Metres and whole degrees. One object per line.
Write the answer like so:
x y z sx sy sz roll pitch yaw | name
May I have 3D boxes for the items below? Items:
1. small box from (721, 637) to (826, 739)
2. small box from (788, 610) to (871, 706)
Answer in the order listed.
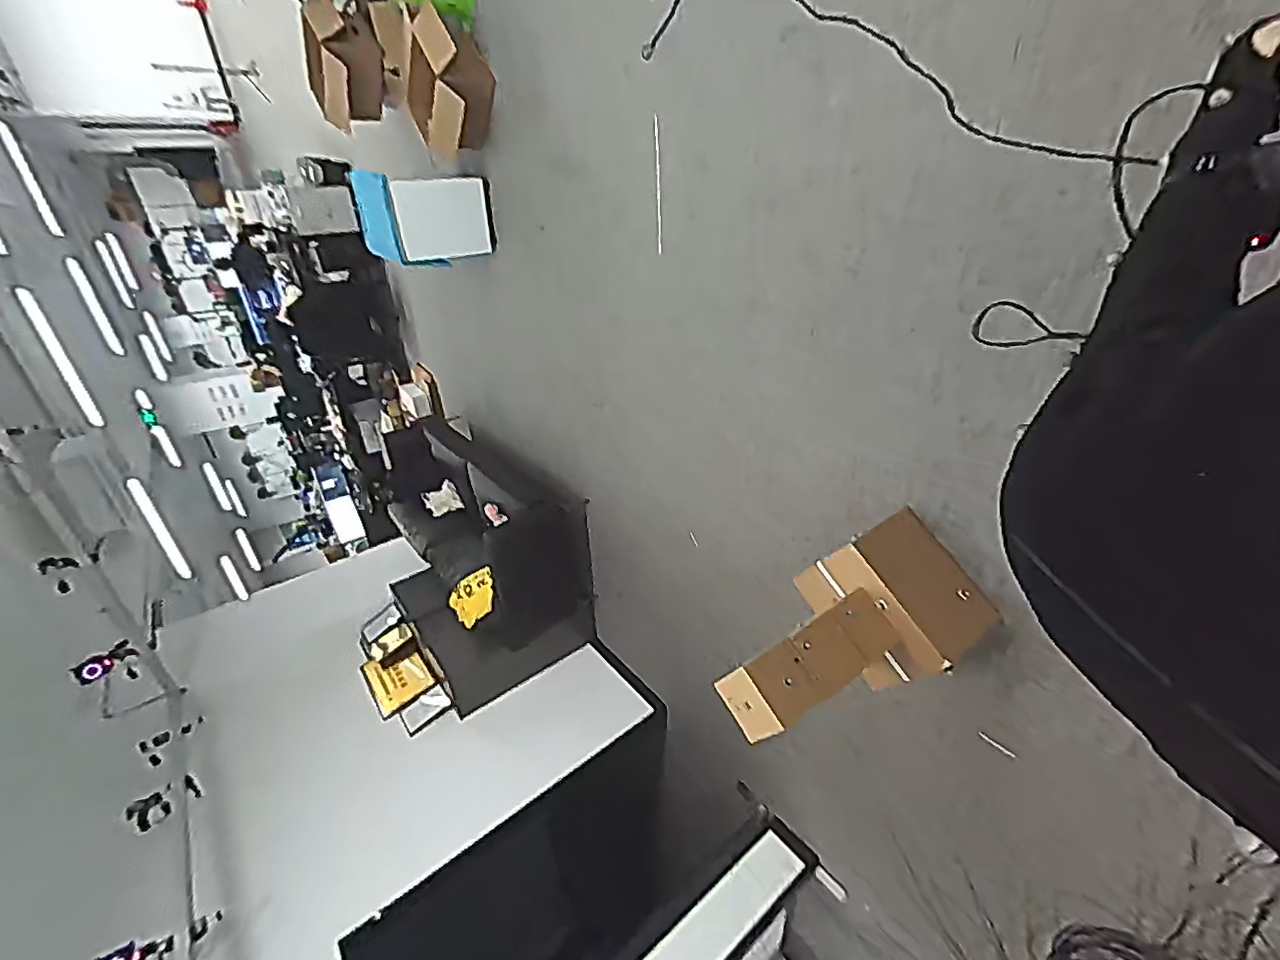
0.345 0.528 1.384 0.168 0.176 0.179 56 147 21 | small box
0.483 0.484 1.463 0.179 0.176 0.168 56 147 20 | small box
